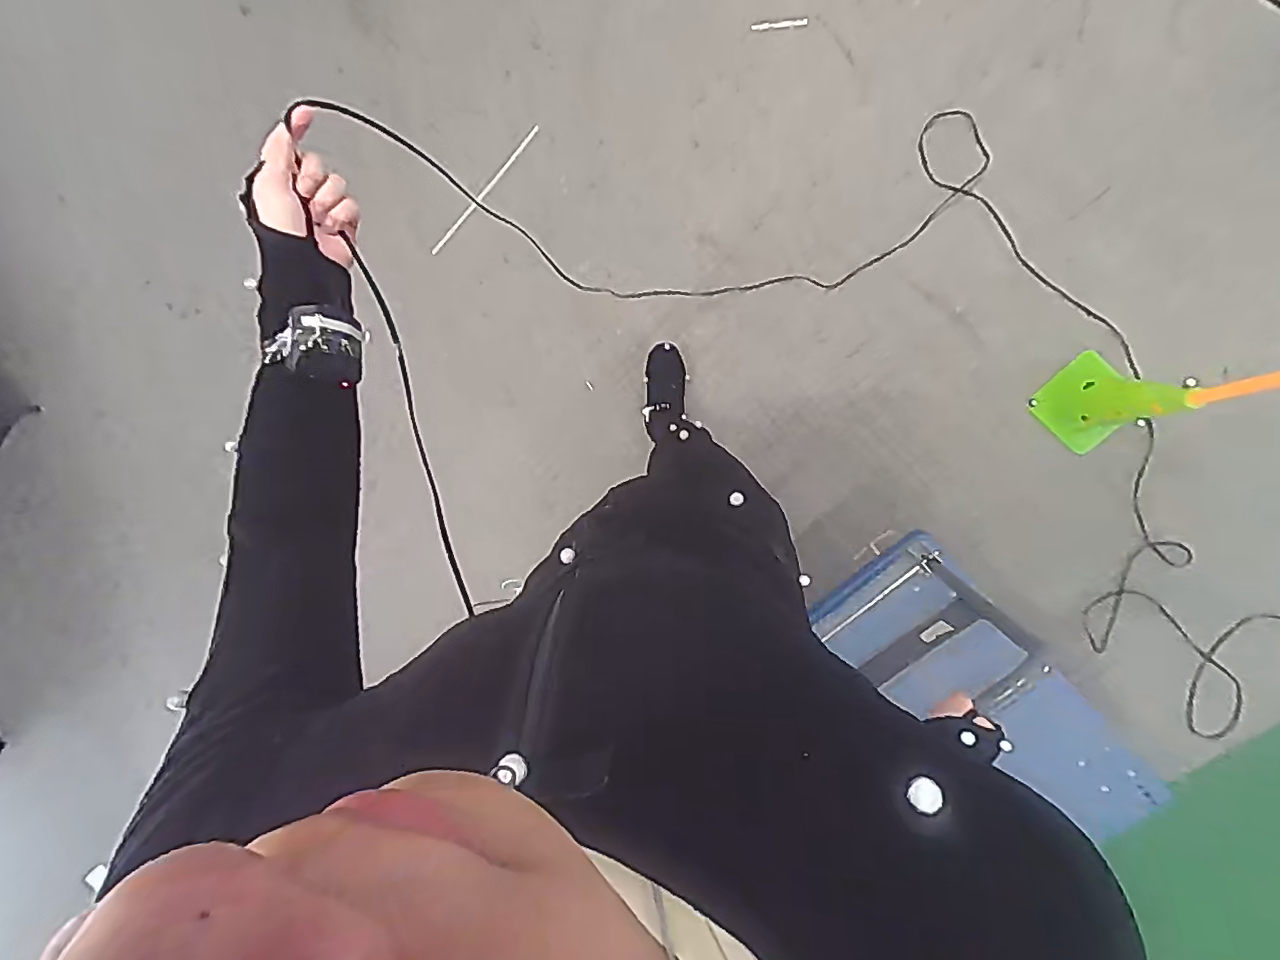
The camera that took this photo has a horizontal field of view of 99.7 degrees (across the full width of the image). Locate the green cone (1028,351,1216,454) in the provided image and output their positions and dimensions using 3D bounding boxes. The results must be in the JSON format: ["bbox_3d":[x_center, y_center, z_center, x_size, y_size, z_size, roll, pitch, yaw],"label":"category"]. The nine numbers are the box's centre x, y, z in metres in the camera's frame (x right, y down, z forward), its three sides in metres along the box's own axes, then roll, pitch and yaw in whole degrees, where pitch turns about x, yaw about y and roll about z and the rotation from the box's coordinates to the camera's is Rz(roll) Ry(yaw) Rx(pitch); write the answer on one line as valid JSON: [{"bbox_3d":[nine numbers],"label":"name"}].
[{"bbox_3d":[1.096,-0.175,1.199,0.200,0.368,0.202,45,101,2],"label":"green cone"}]
